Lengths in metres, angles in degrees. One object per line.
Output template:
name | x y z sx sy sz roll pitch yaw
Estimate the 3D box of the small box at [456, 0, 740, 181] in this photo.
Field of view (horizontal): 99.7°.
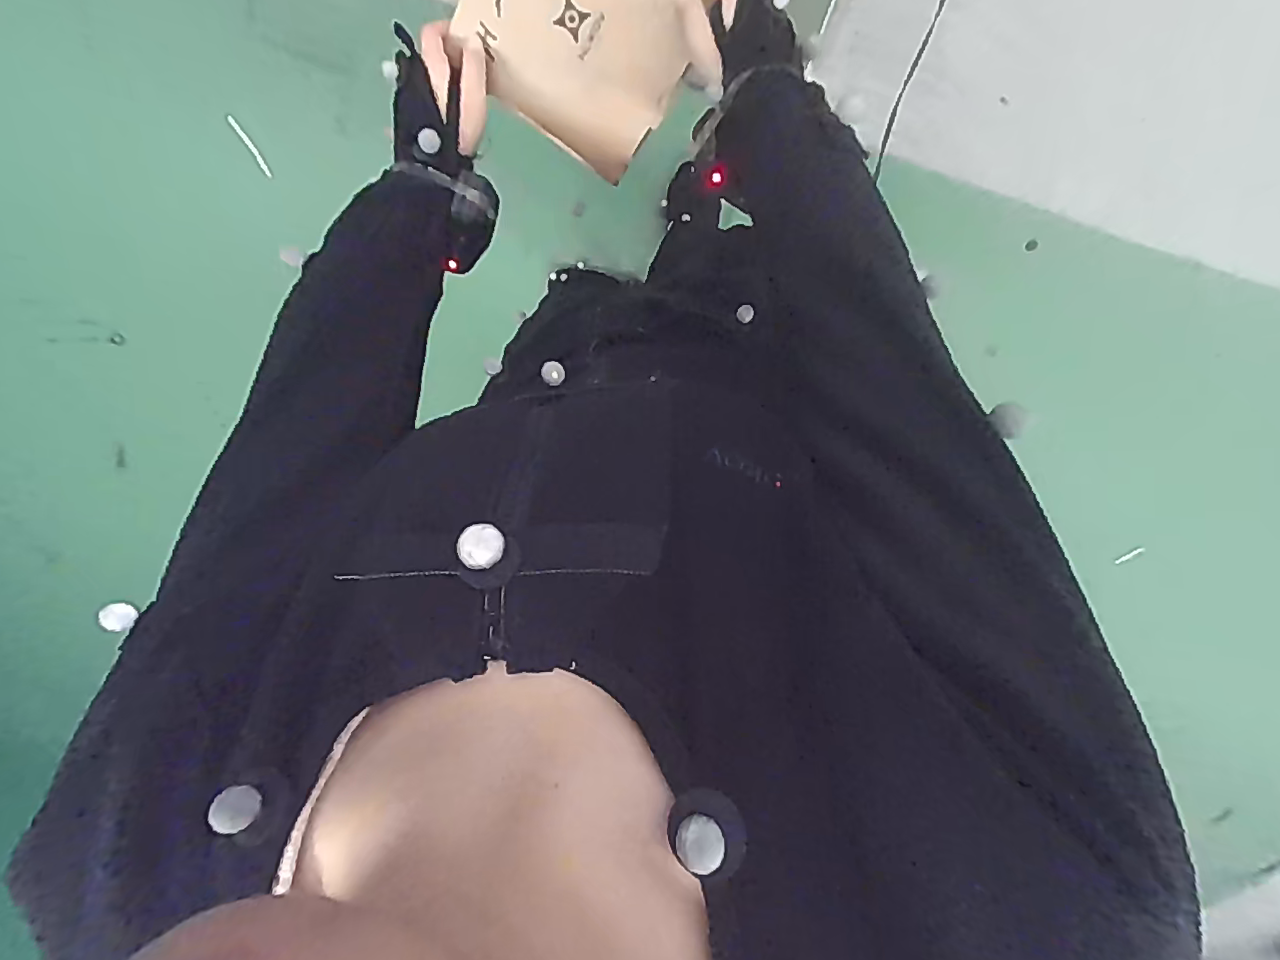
small box | -0.034 -0.422 0.489 0.179 0.176 0.168 28 129 -24
